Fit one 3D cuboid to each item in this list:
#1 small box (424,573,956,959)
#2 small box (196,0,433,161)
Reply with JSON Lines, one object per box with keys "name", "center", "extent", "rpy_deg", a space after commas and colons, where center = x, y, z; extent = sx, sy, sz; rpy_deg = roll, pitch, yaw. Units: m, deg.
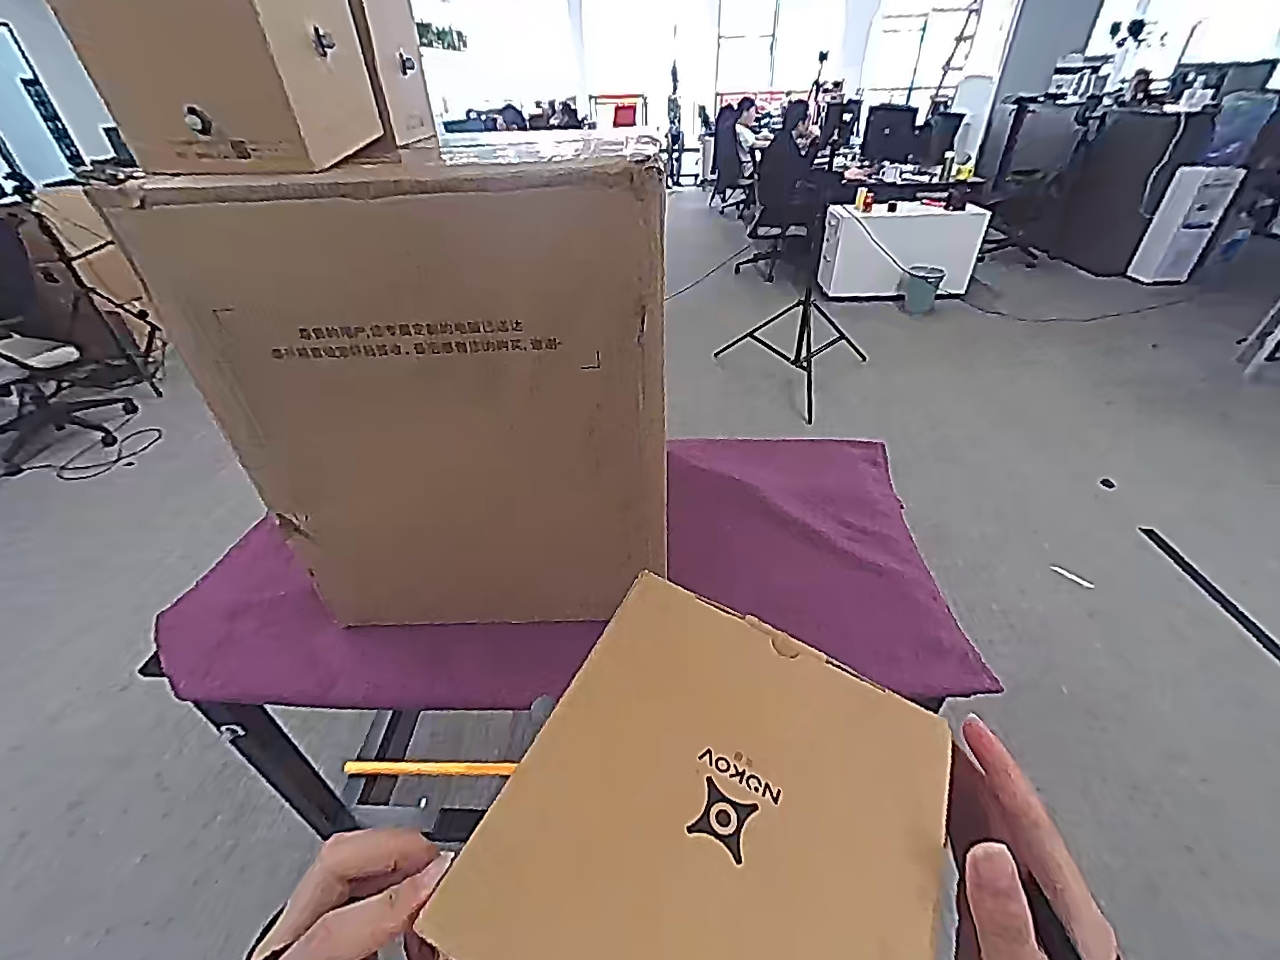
{"name": "small box", "center": [0.028, 0.188, 0.272], "extent": [0.168, 0.176, 0.179], "rpy_deg": [24, 45, 15]}
{"name": "small box", "center": [-0.373, -0.497, 0.657], "extent": [0.179, 0.176, 0.168], "rpy_deg": [-1, 36, 0]}
